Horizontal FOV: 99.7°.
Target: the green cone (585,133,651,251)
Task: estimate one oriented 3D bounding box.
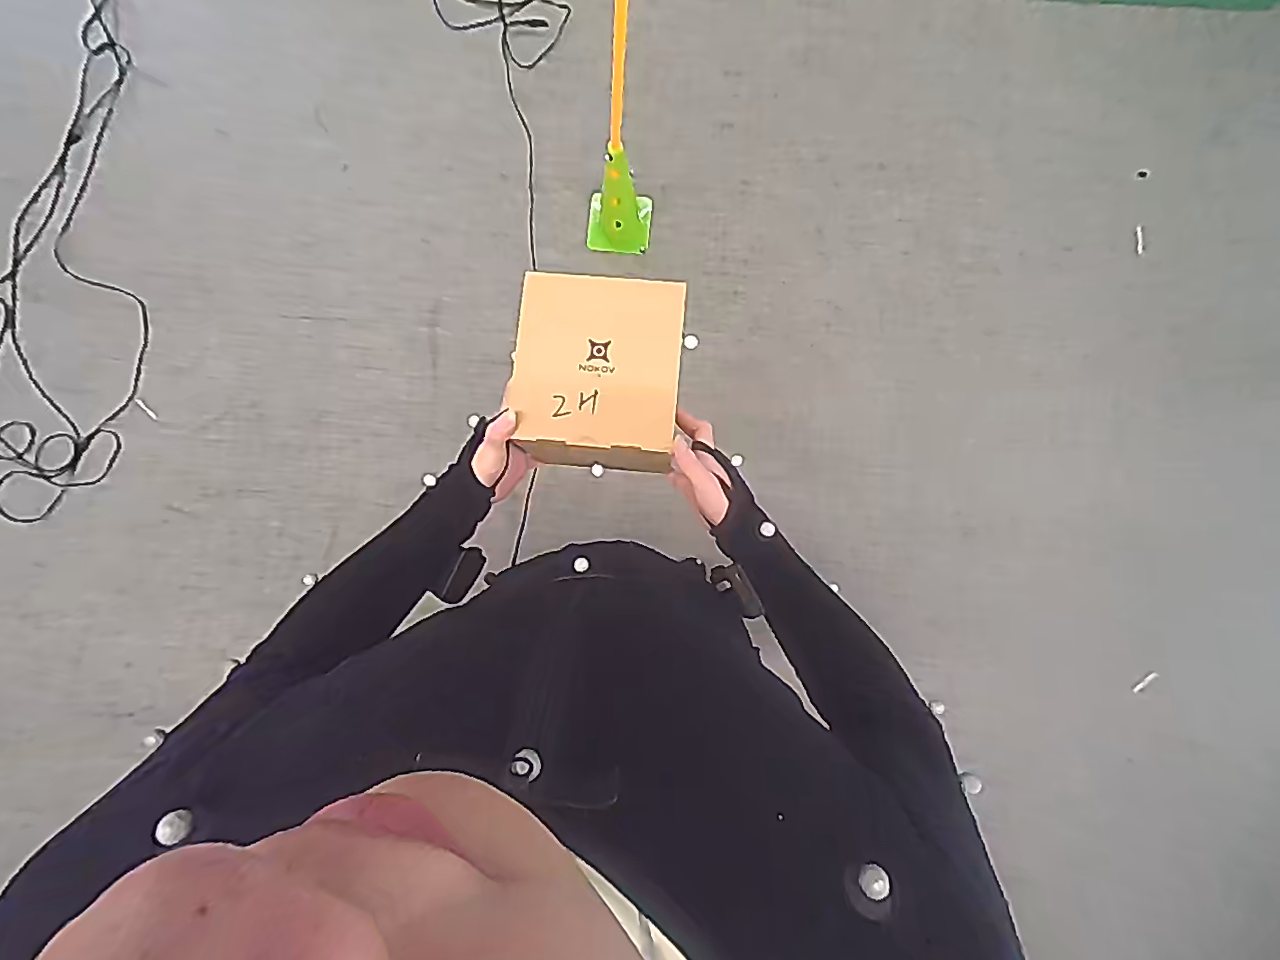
[{"bbox_3d":[-0.072,-0.859,1.570,0.202,0.368,0.200,5,82,1],"label":"green cone"}]
